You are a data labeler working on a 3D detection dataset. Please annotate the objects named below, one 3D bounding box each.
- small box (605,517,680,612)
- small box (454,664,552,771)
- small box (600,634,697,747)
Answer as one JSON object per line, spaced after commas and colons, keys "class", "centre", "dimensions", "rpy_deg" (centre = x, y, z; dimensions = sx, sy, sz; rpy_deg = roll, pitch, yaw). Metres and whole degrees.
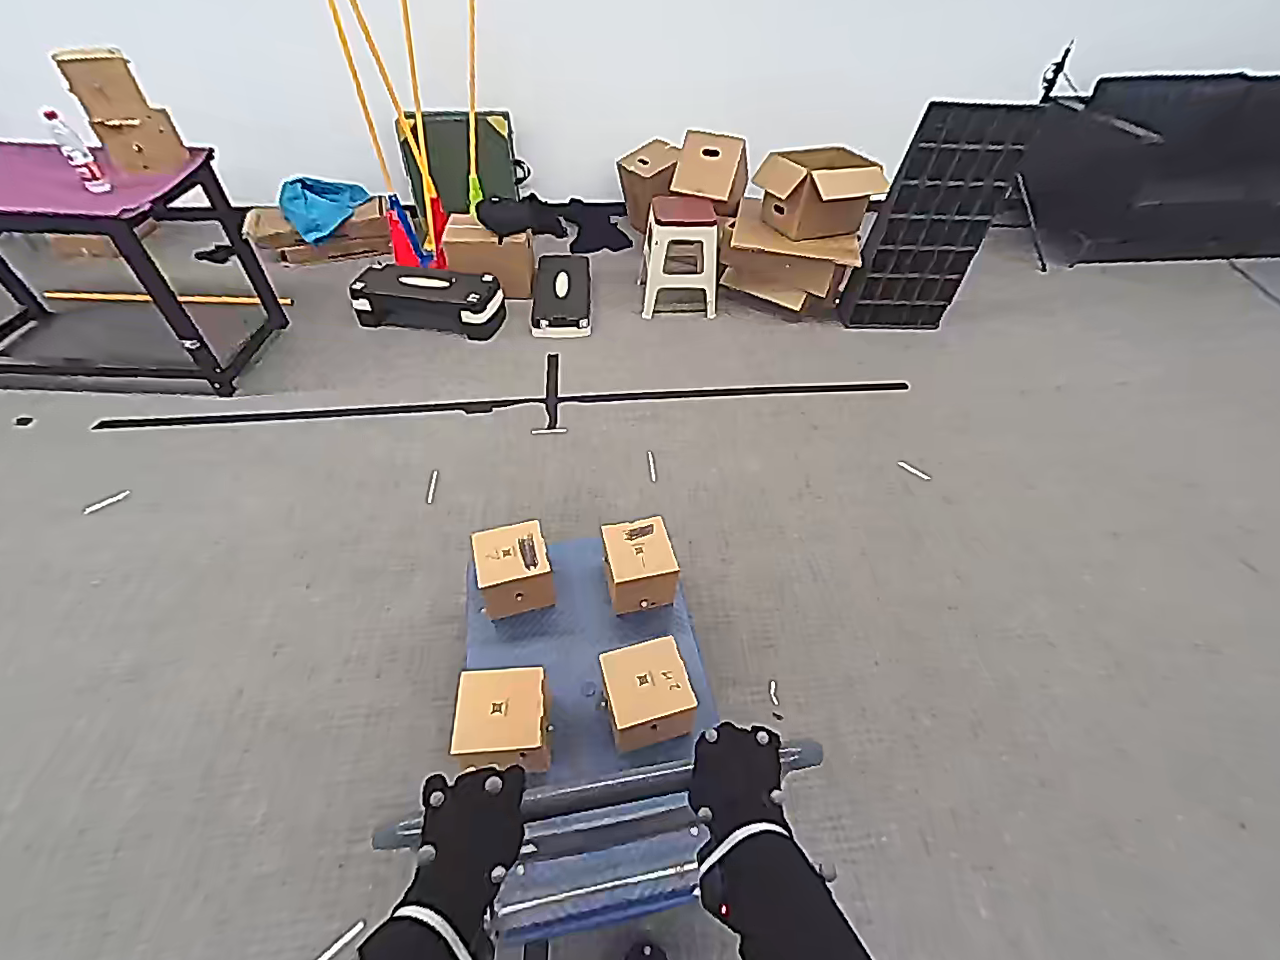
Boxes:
{"class": "small box", "centre": [-0.001, 0.226, 1.442], "dimensions": [0.168, 0.176, 0.179], "rpy_deg": [-9, 50, -10]}
{"class": "small box", "centre": [-0.286, 0.516, 1.170], "dimensions": [0.179, 0.176, 0.168], "rpy_deg": [-1, 48, -6]}
{"class": "small box", "centre": [0.015, 0.477, 1.217], "dimensions": [0.179, 0.176, 0.168], "rpy_deg": [-11, 50, -12]}
